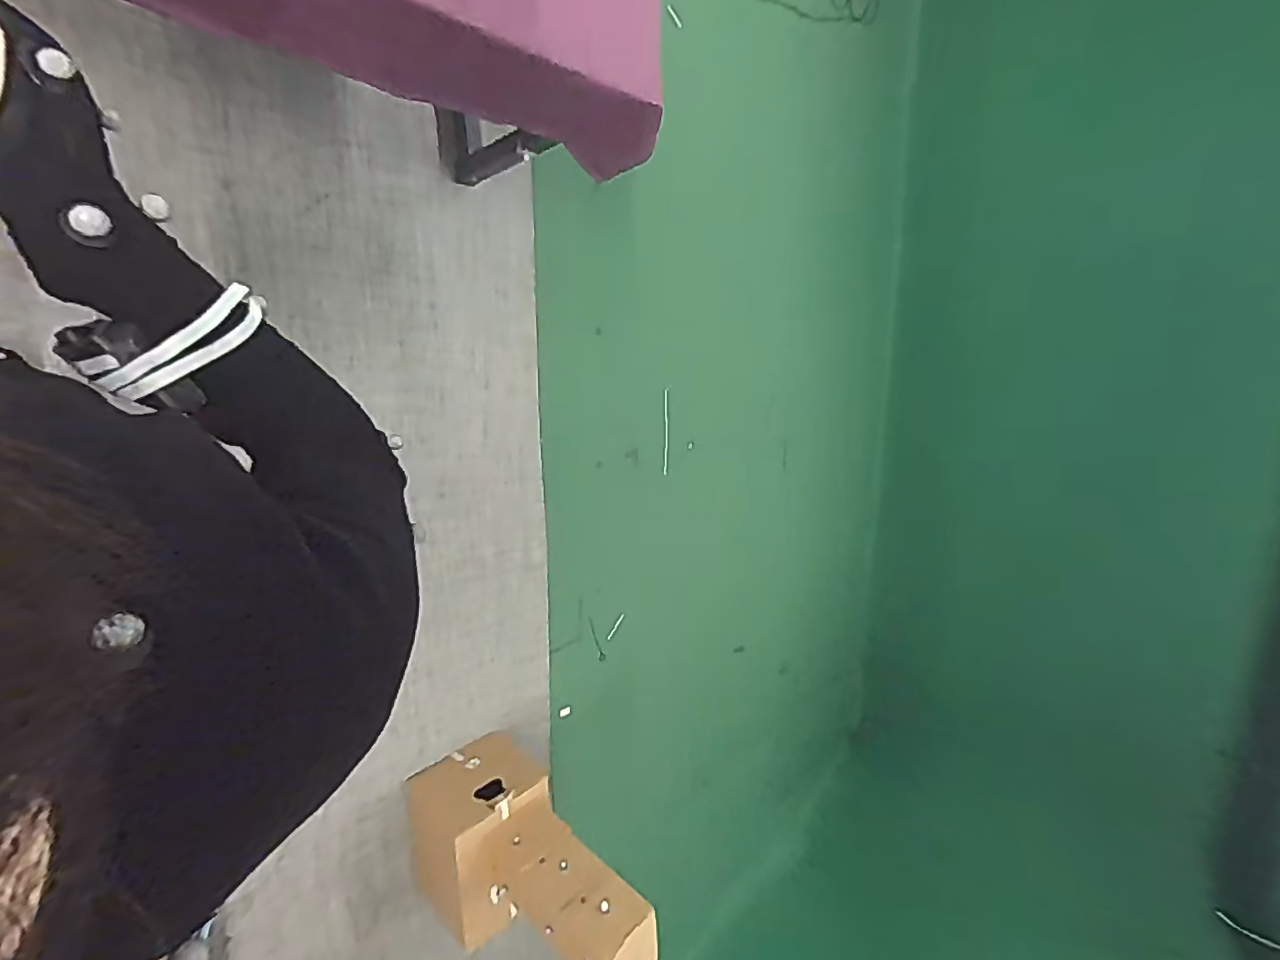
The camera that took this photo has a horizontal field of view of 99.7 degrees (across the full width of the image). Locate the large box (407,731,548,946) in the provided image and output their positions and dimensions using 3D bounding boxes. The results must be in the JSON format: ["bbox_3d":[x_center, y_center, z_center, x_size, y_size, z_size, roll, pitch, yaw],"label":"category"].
[{"bbox_3d":[-0.504,1.102,1.711,0.320,0.320,0.408,-13,108,-45],"label":"large box"}]

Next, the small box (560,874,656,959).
[{"bbox_3d":[-0.080,1.114,1.321,0.168,0.176,0.179,-17,110,-44],"label":"small box"}]

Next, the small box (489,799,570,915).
[{"bbox_3d":[-0.317,1.064,1.542,0.179,0.176,0.168,-15,109,-46],"label":"small box"}]

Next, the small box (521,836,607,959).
[{"bbox_3d":[-0.198,1.093,1.434,0.168,0.176,0.179,-20,113,-43],"label":"small box"}]
